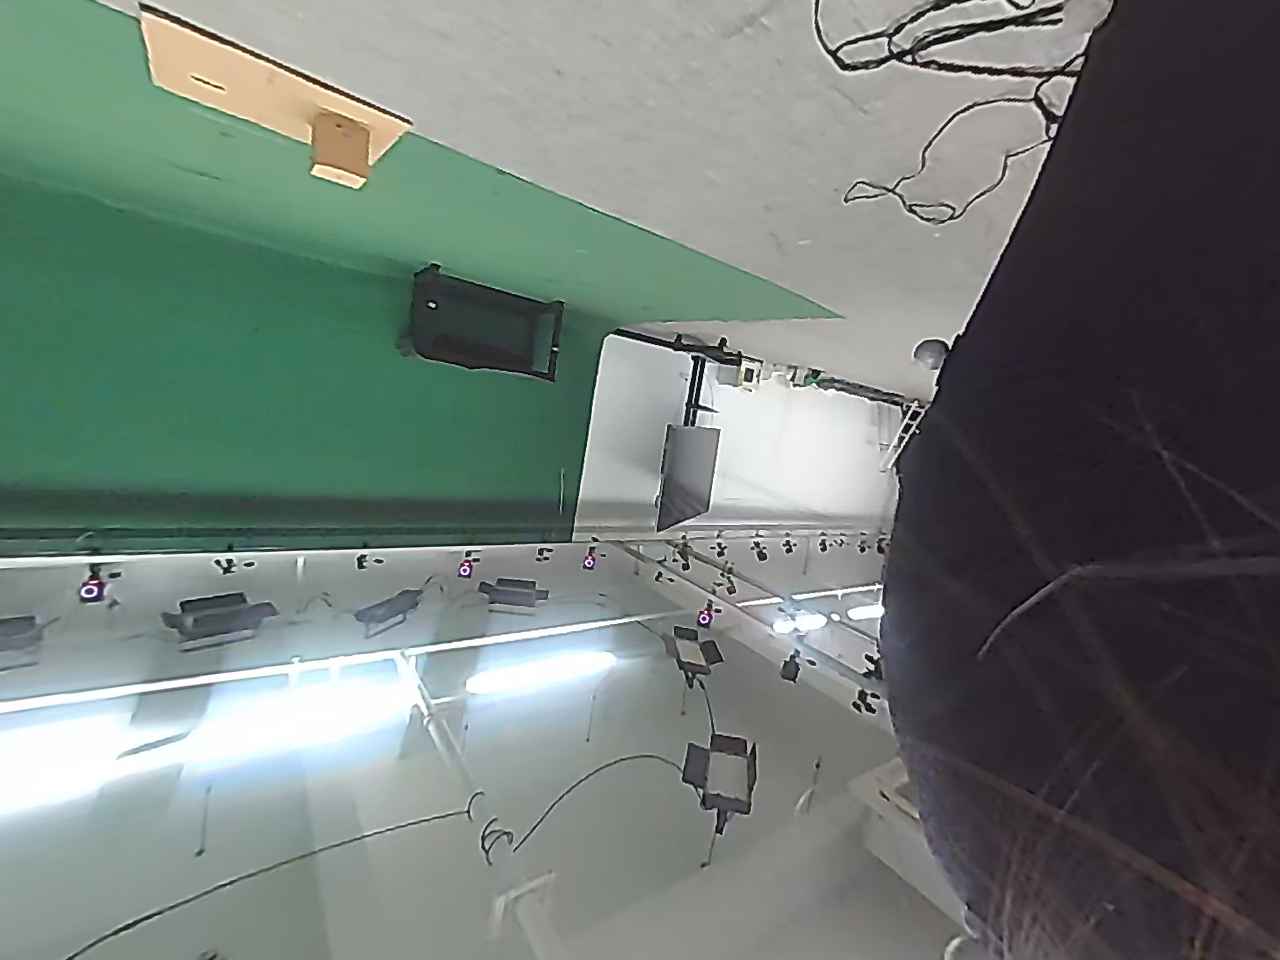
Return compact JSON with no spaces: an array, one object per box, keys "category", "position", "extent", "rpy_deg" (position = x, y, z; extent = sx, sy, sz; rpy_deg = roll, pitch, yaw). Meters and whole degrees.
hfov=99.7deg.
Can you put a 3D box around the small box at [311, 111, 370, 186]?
[{"category":"small box","position":[-1.103,-1.215,1.989],"extent":[0.168,0.176,0.179],"rpy_deg":[1,-168,-38]}]
